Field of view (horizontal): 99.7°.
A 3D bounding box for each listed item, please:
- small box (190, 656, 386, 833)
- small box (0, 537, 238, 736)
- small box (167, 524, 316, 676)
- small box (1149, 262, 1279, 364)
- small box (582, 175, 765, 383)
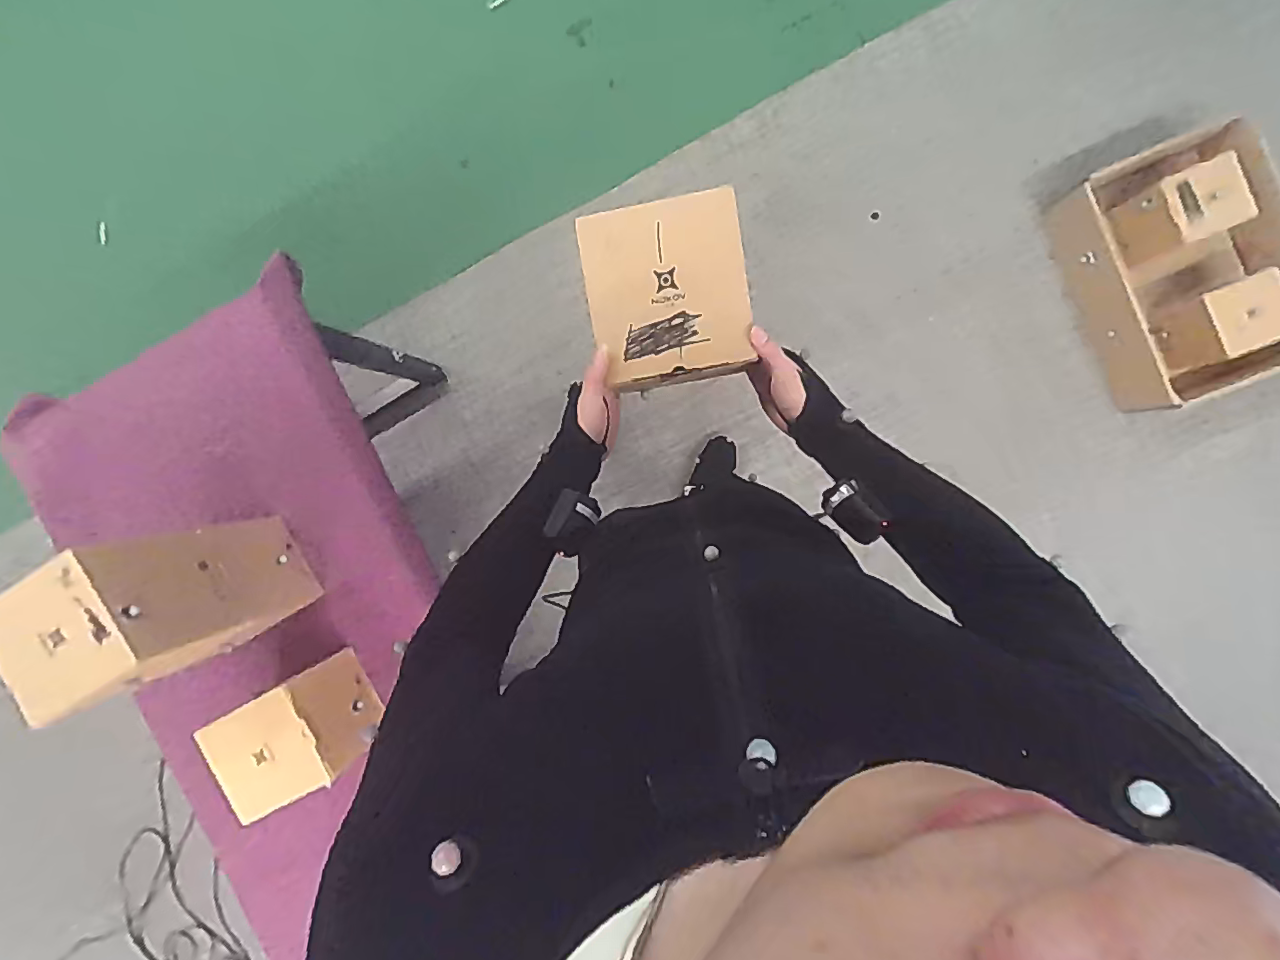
[{"bbox_3d":[-0.565,0.422,0.890,0.179,0.176,0.168,-30,90,5],"label":"small box"},{"bbox_3d":[-0.706,0.196,0.726,0.179,0.176,0.168,-32,90,7],"label":"small box"},{"bbox_3d":[-0.690,0.189,0.890,0.179,0.176,0.168,-31,90,5],"label":"small box"},{"bbox_3d":[1.447,-0.406,1.346,0.179,0.176,0.168,-23,89,6],"label":"small box"},{"bbox_3d":[0.041,-0.209,0.619,0.168,0.176,0.179,-9,95,6],"label":"small box"}]
